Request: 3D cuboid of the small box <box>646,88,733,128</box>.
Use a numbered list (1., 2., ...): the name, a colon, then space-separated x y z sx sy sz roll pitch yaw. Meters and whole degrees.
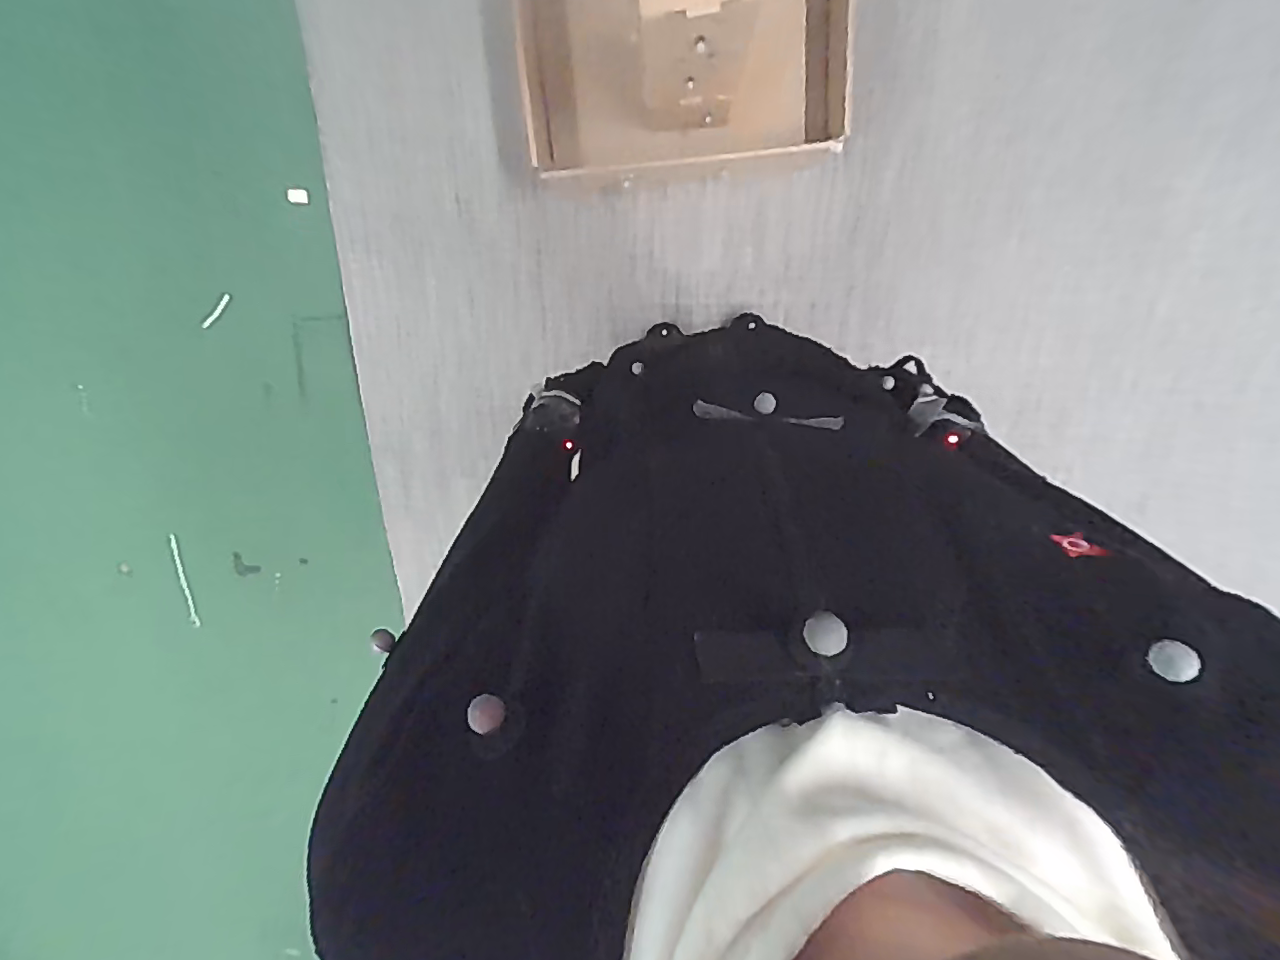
1. small box: 0.095 -0.812 1.059 0.168 0.176 0.179 -1 106 3
